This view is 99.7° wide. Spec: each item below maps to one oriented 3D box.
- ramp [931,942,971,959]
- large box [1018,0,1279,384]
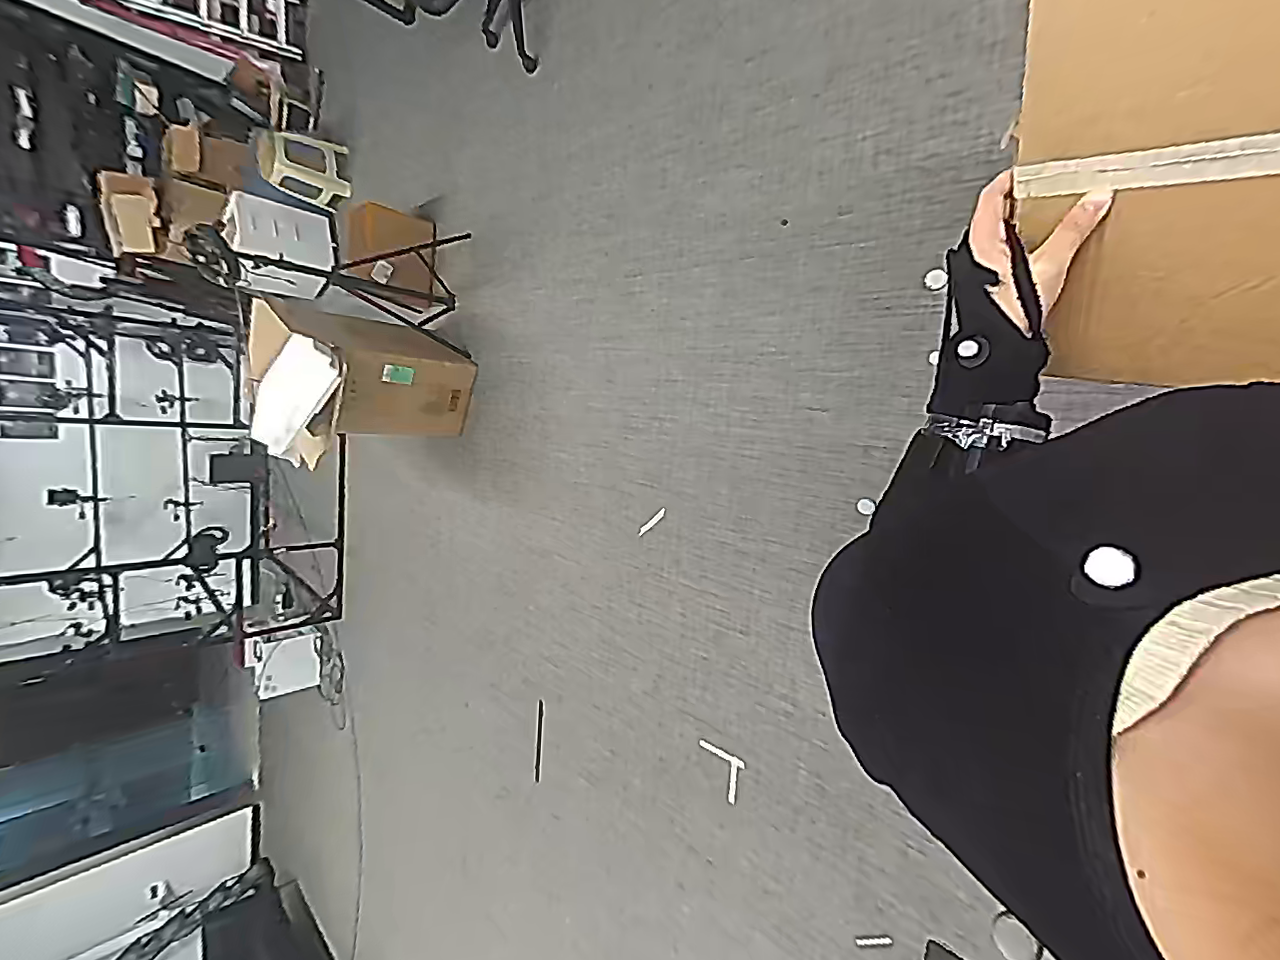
[{"bbox_3d":[0.810,1.657,1.175,0.509,0.206,0.991,9,97,43],"label":"ramp"},{"bbox_3d":[0.495,-0.261,0.300,0.408,0.320,0.320,18,146,44],"label":"large box"}]
